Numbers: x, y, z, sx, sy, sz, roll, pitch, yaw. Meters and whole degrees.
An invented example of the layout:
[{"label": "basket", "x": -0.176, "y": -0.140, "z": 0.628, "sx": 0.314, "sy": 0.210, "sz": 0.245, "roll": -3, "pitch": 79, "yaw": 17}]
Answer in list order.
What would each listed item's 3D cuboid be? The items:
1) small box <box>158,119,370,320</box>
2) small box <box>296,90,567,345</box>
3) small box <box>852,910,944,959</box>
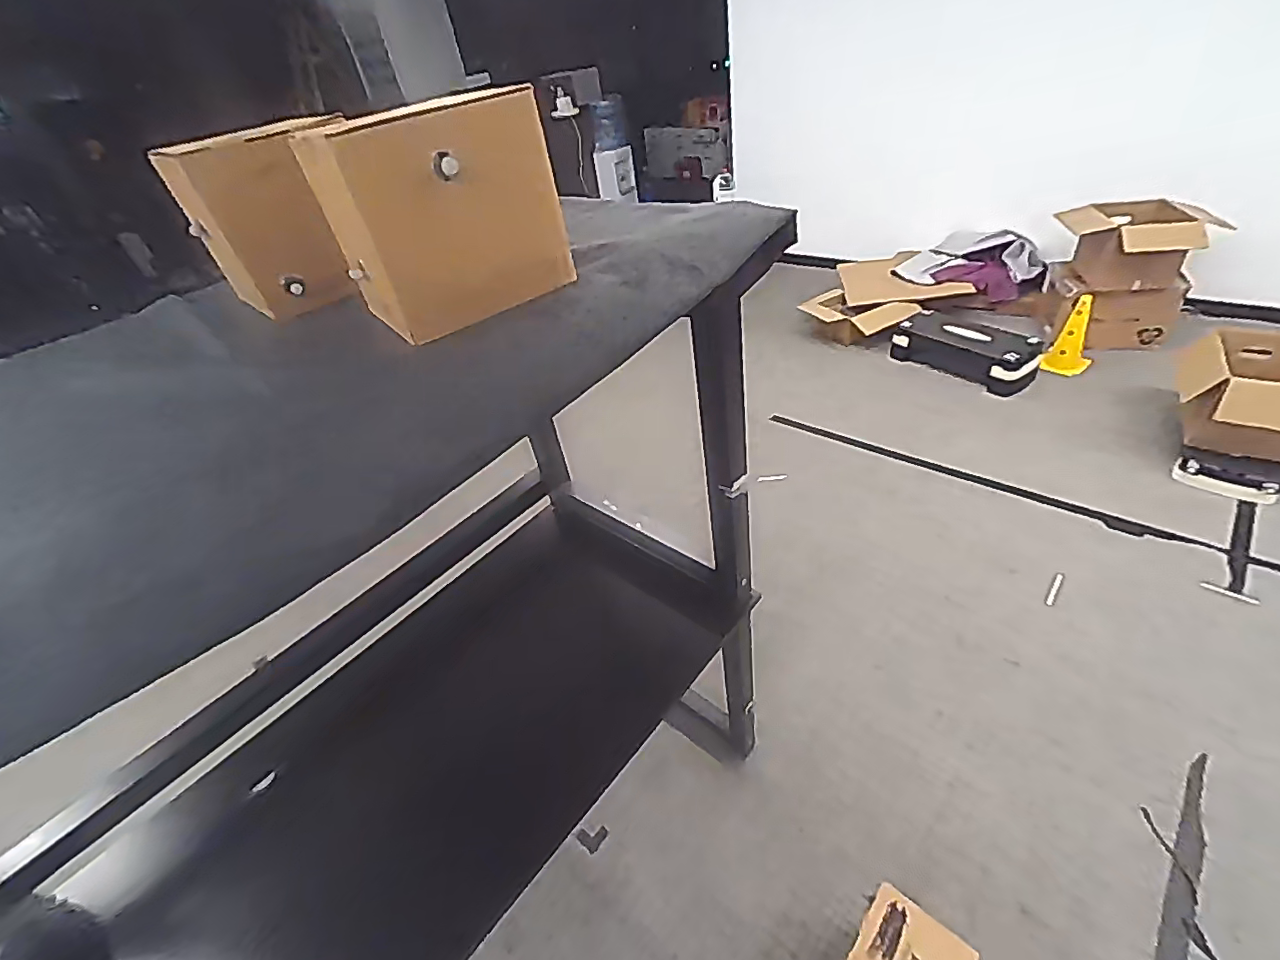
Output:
[{"label": "small box", "x": -0.411, "y": -0.307, "z": 0.641, "sx": 0.179, "sy": 0.176, "sz": 0.168, "roll": 27, "pitch": 53, "yaw": 38}, {"label": "small box", "x": -0.187, "y": -0.255, "z": 0.522, "sx": 0.179, "sy": 0.176, "sz": 0.168, "roll": -33, "pitch": 42, "yaw": -22}, {"label": "small box", "x": 0.519, "y": 1.041, "z": 1.104, "sx": 0.168, "sy": 0.176, "sz": 0.179, "roll": 23, "pitch": 51, "yaw": 34}]
